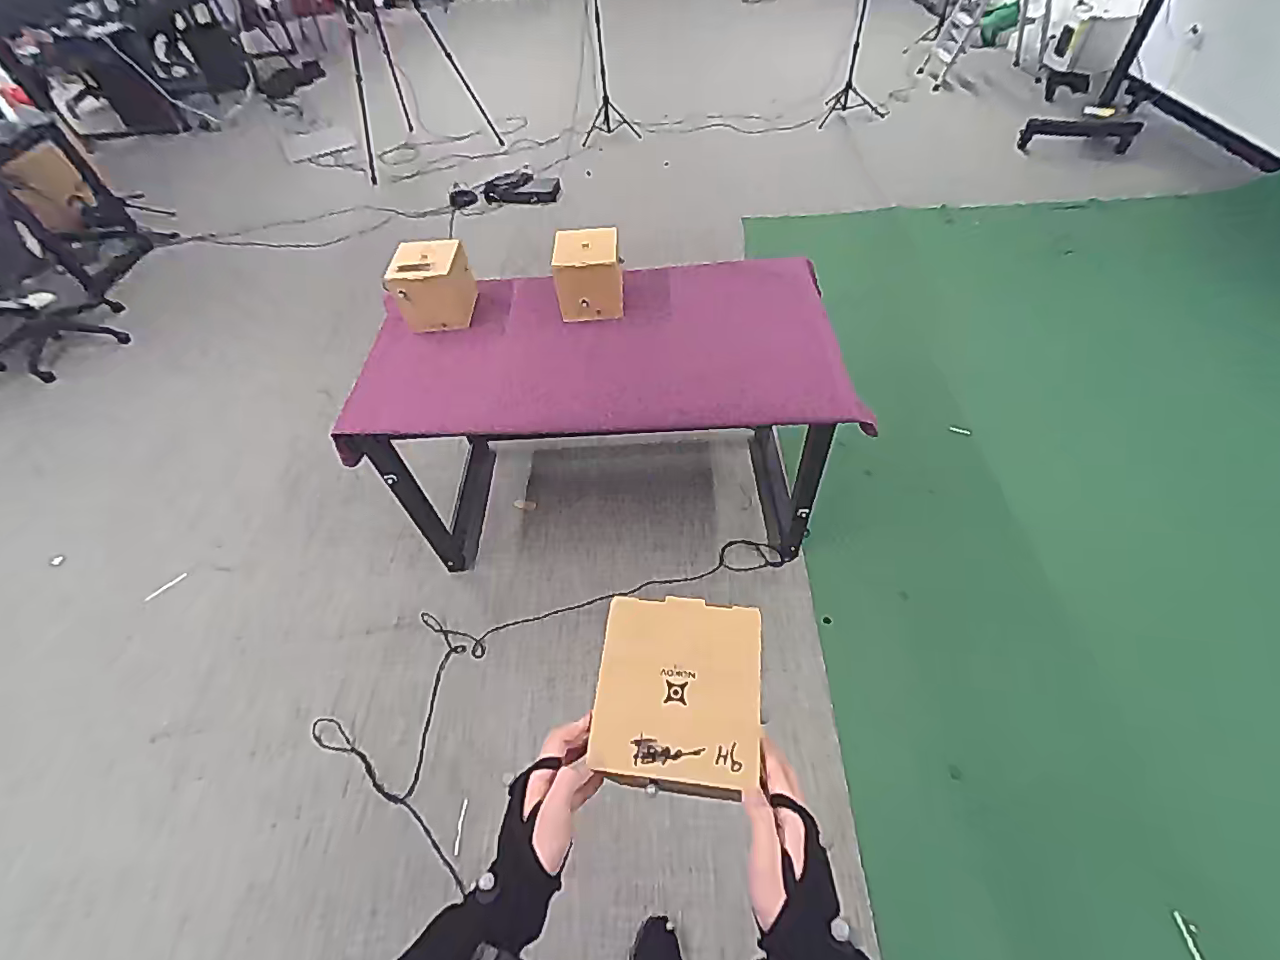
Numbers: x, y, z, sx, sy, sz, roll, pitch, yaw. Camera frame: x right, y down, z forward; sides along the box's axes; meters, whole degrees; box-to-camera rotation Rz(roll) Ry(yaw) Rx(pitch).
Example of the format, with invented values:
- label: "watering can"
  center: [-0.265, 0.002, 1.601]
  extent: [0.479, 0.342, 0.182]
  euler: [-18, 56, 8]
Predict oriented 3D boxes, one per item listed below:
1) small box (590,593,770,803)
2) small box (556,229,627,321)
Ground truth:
- label: "small box"
  center: [0.052, 0.247, 0.606]
  extent: [0.168, 0.176, 0.179]
  euler: [4, 58, 10]
- label: "small box"
  center: [-0.124, -0.551, 1.456]
  extent: [0.168, 0.176, 0.179]
  euler: [-2, 53, 2]
